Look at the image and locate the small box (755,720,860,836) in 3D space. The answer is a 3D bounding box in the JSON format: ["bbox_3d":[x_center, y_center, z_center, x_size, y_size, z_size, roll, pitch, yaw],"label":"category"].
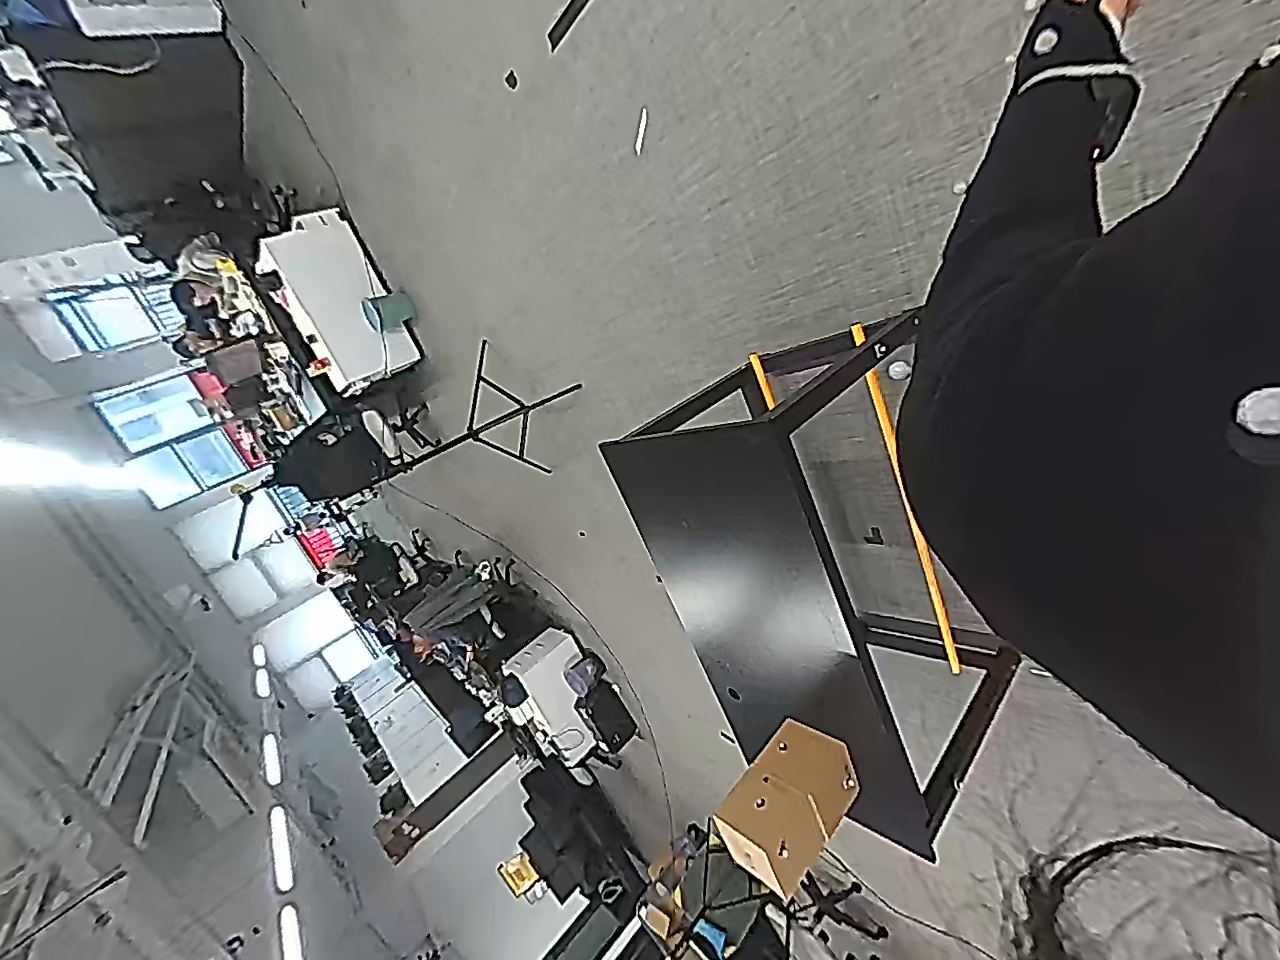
[{"bbox_3d":[0.433,0.755,1.395,0.179,0.176,0.168,2,121,52],"label":"small box"}]

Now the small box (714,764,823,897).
[{"bbox_3d":[0.315,0.839,1.316,0.168,0.176,0.179,3,122,53],"label":"small box"}]
